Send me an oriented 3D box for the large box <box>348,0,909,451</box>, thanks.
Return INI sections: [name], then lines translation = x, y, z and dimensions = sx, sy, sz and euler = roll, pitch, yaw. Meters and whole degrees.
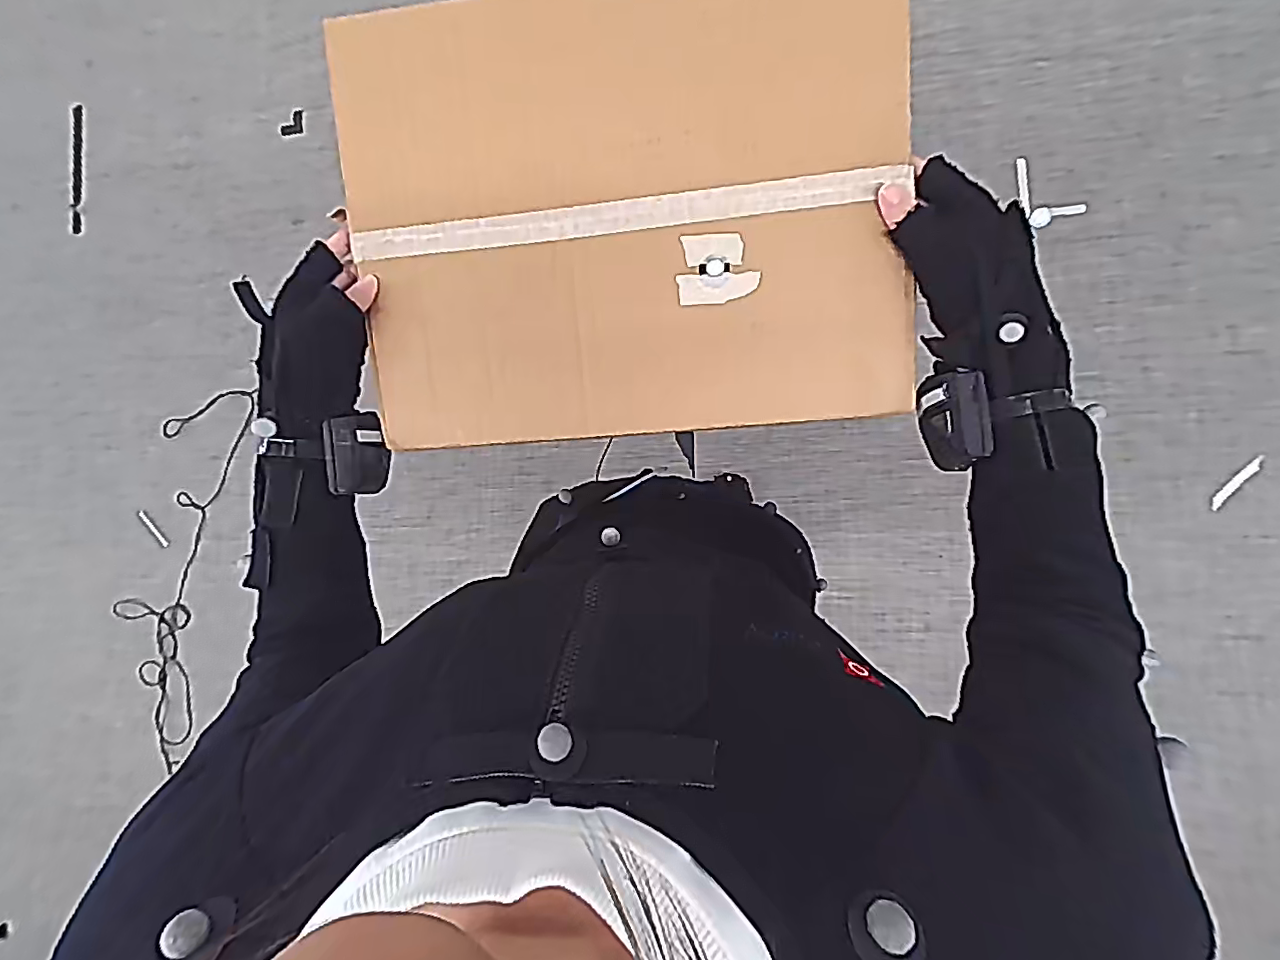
[large box]
translation = 0.001, -0.212, 0.550
dimensions = 0.408, 0.320, 0.320
euler = -5, 98, 5
